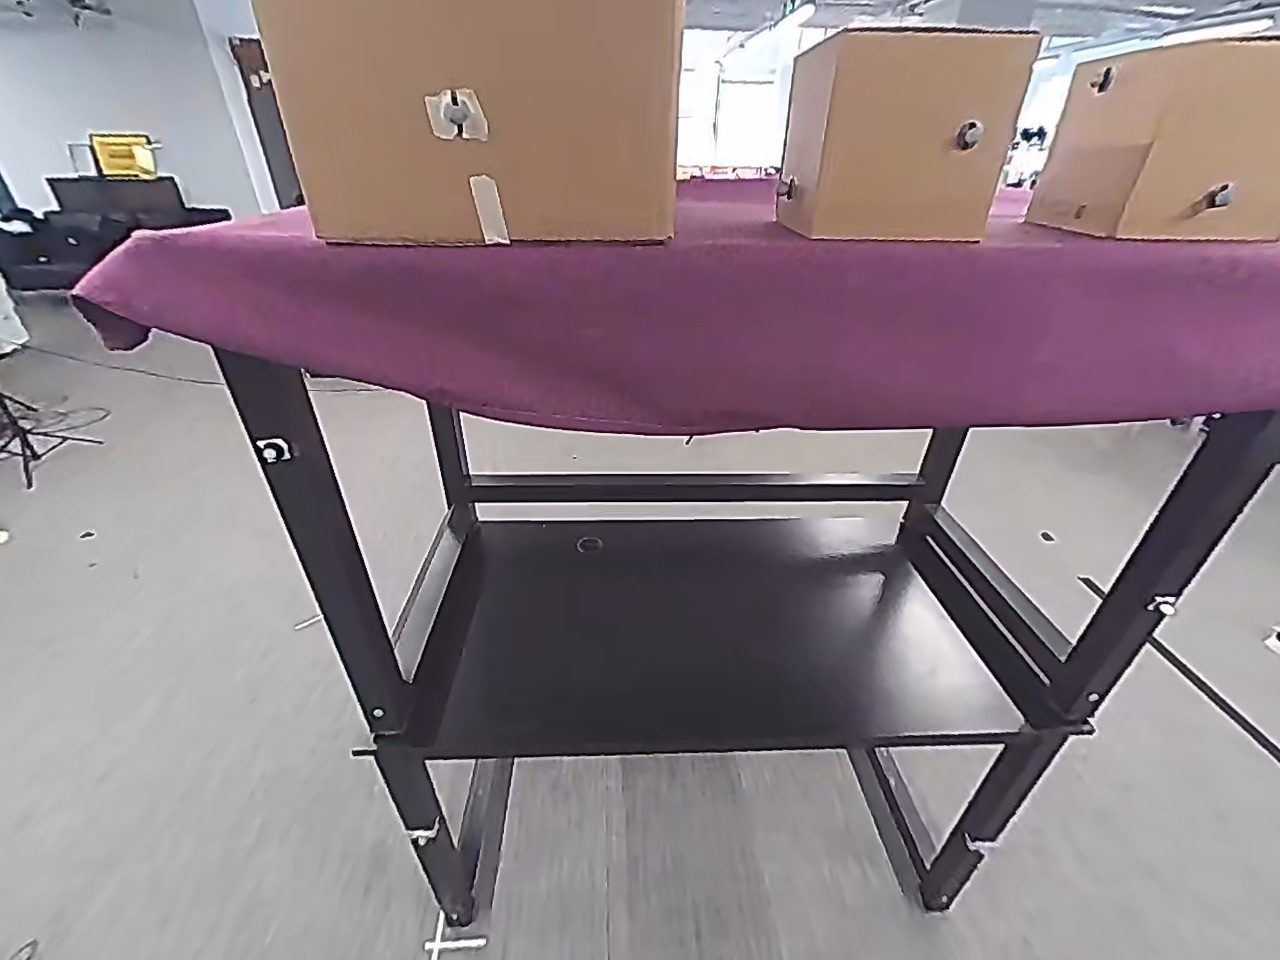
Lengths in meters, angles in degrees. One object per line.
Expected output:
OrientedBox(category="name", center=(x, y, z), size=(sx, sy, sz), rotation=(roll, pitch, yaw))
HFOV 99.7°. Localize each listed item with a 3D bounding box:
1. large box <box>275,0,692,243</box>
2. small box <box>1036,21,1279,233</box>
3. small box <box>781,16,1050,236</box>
OrientedBox(category="large box", center=(-0.131, -0.438, 0.561), size=(0.320, 0.320, 0.408), rotation=(-1, 31, -5))
OrientedBox(category="small box", center=(0.582, -0.366, 0.579), size=(0.179, 0.176, 0.168), rotation=(2, 31, 2))
OrientedBox(category="small box", center=(0.260, -0.355, 0.562), size=(0.179, 0.176, 0.168), rotation=(0, 31, 0))
